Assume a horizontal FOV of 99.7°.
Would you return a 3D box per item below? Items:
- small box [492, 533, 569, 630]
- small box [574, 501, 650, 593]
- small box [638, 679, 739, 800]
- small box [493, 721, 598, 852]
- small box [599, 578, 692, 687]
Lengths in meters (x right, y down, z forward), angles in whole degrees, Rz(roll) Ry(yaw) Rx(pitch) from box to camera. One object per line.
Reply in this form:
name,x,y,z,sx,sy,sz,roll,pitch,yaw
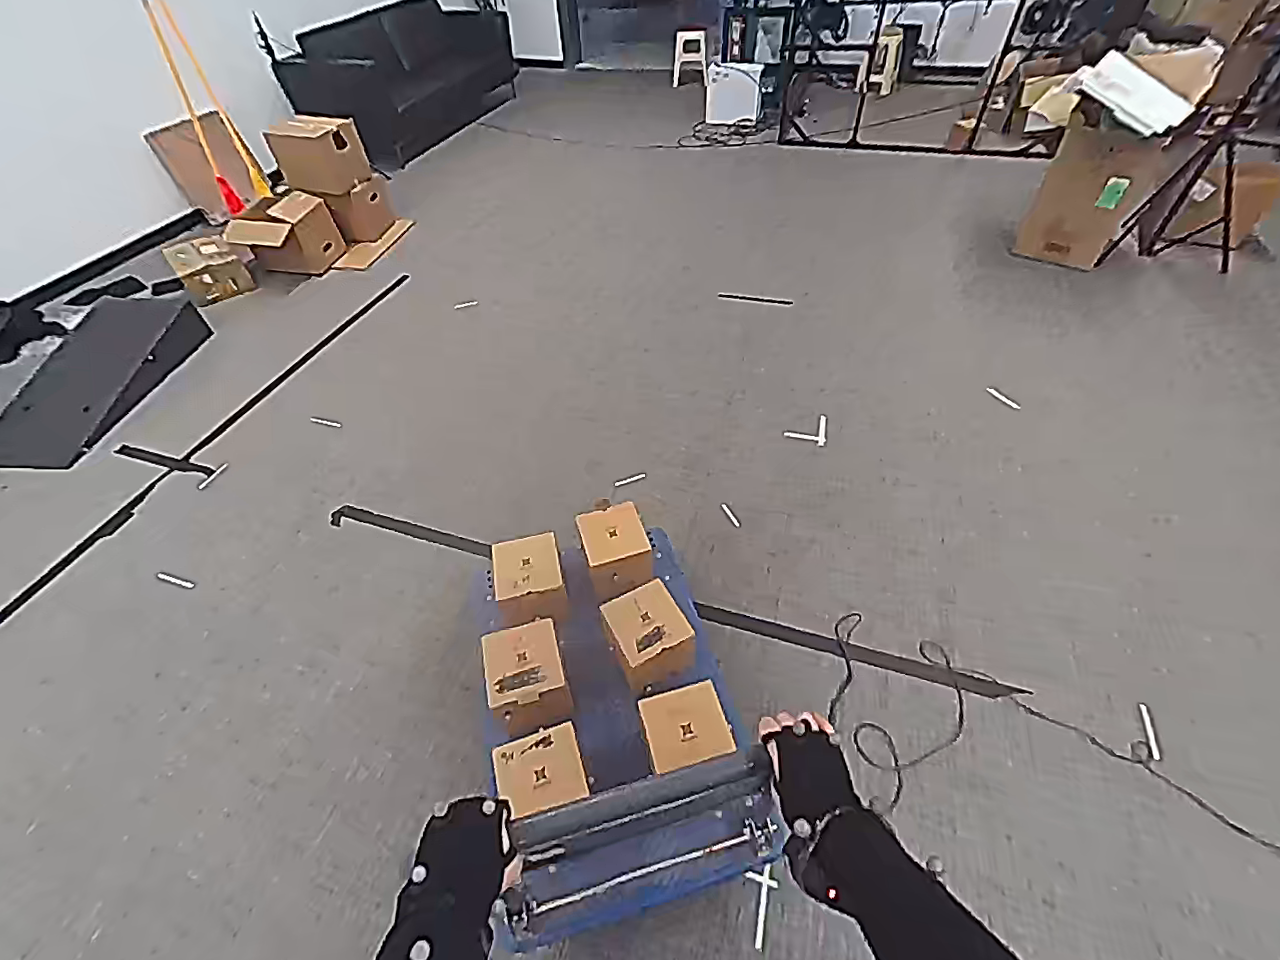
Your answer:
small box,-0.289,0.270,1.432,0.168,0.176,0.179,-12,49,-8
small box,-0.076,0.193,1.495,0.168,0.176,0.179,-15,49,-11
small box,0.098,0.558,1.151,0.168,0.176,0.179,-12,47,-9
small box,-0.187,0.628,1.099,0.168,0.176,0.179,-15,49,-12
small box,0.015,0.380,1.318,0.168,0.176,0.179,-22,50,-17
